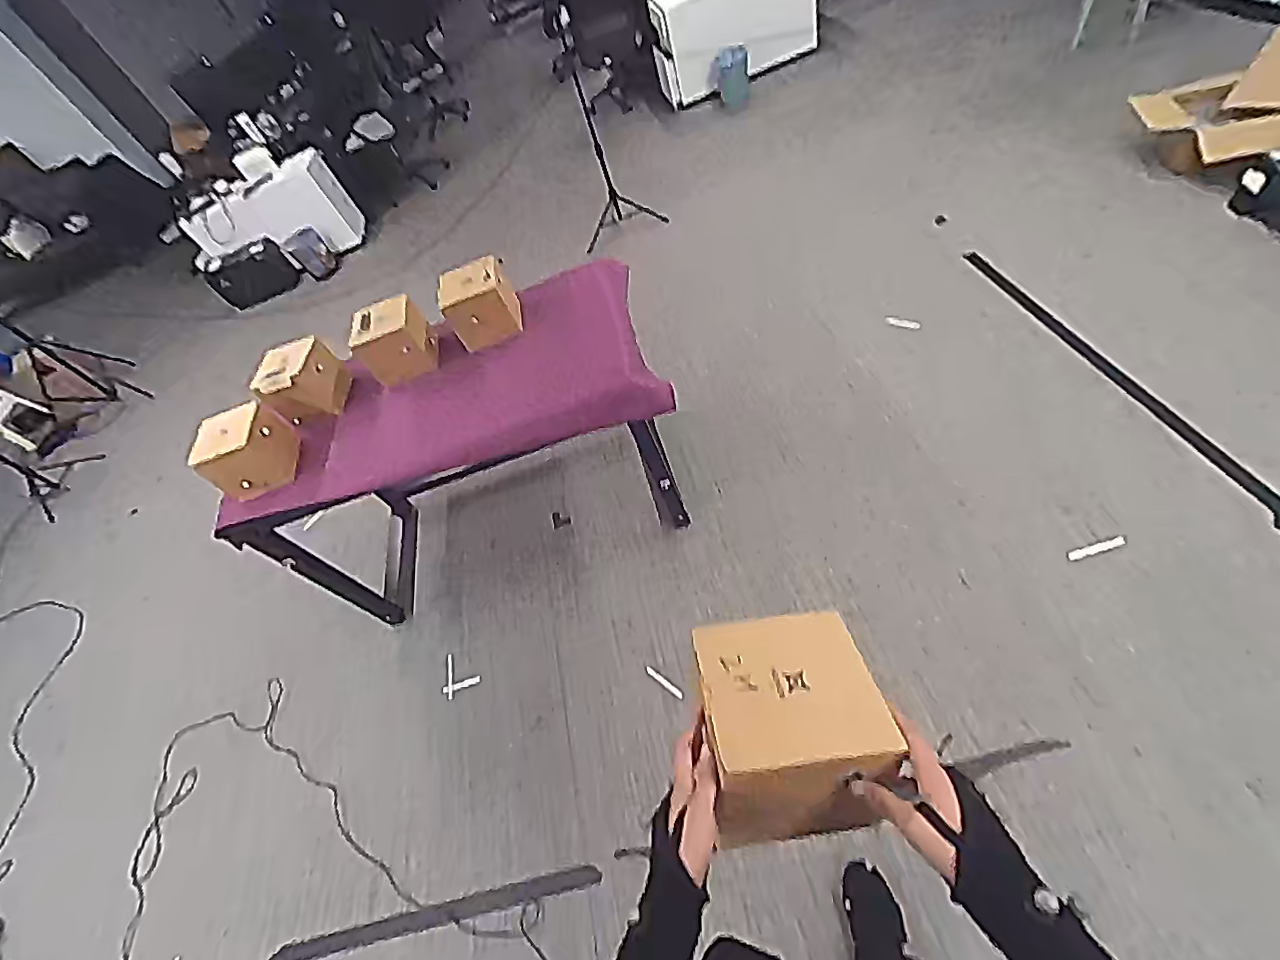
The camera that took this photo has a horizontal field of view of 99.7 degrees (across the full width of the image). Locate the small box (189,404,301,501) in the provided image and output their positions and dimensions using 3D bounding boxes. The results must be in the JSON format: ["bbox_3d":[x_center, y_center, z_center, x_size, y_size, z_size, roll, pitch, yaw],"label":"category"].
[{"bbox_3d":[-1.070,-0.073,1.483,0.168,0.176,0.179,-21,51,2],"label":"small box"}]

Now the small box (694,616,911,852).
[{"bbox_3d":[0.157,0.276,0.593,0.179,0.176,0.168,-7,36,-2],"label":"small box"}]

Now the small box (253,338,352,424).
[{"bbox_3d":[-0.996,-0.286,1.617,0.168,0.176,0.179,-14,52,9],"label":"small box"}]
